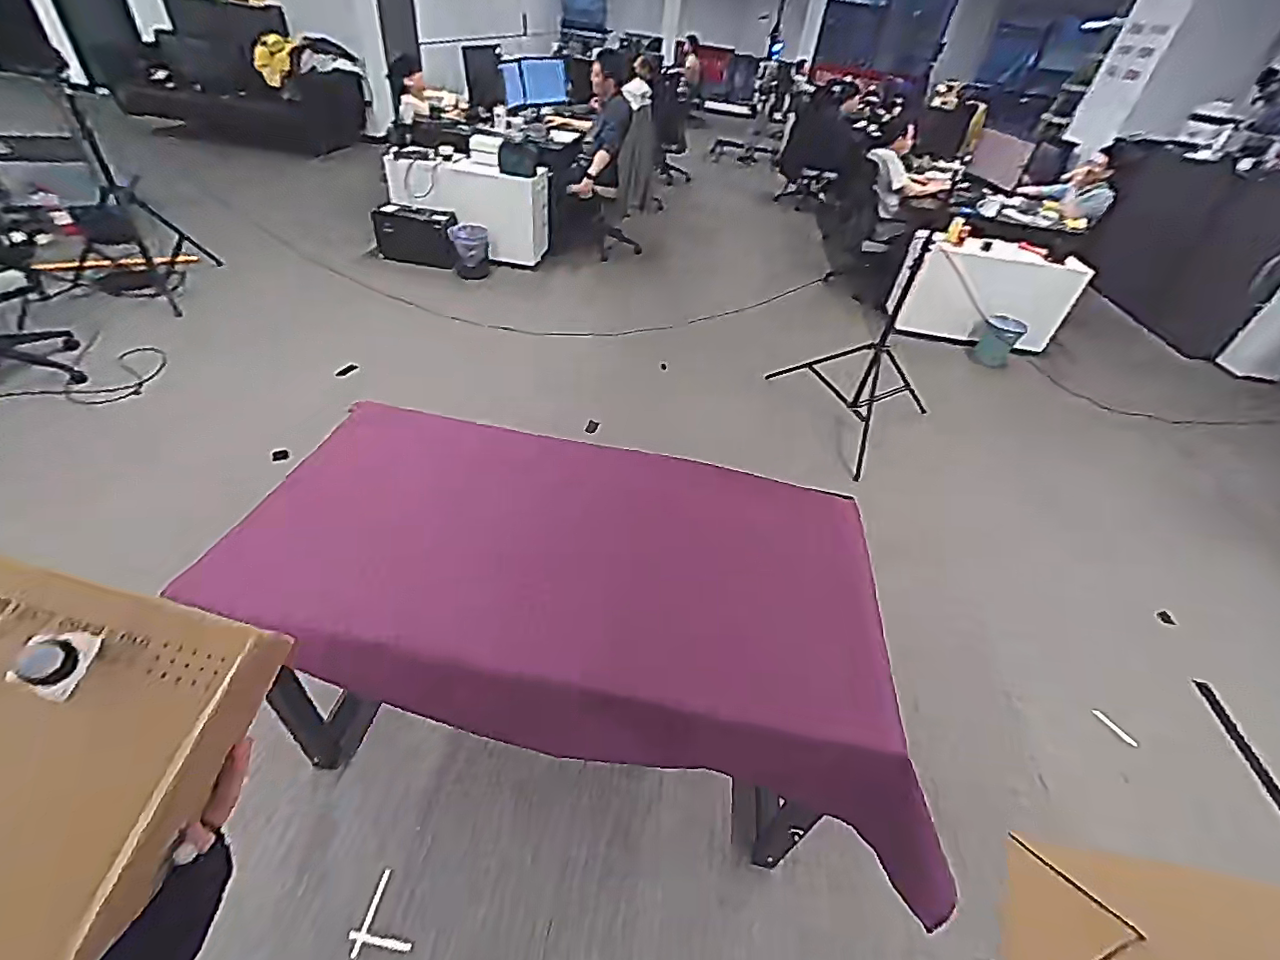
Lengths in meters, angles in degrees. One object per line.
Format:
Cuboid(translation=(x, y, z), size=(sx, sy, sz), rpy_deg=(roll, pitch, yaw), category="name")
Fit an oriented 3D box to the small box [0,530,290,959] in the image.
Cuboid(translation=(-0.324, 0.137, 0.299), size=(0.168, 0.179, 0.176), rpy_deg=(23, 63, -18), category="small box")
